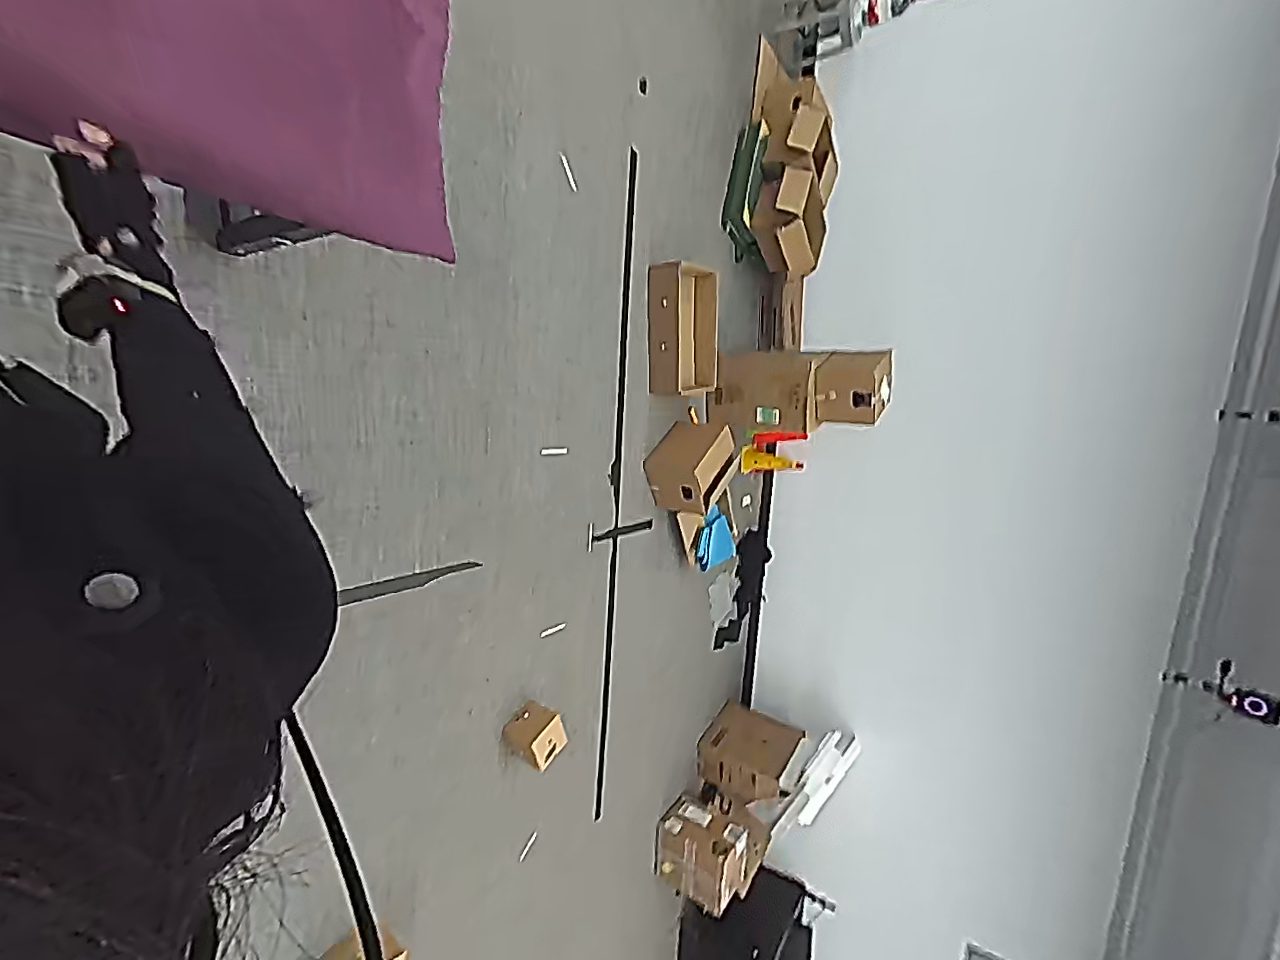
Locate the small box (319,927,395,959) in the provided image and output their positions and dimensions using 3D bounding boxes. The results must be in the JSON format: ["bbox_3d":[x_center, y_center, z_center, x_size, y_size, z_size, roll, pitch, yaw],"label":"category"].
[{"bbox_3d":[-0.916,1.583,1.707,0.179,0.176,0.168,15,87,-58],"label":"small box"}]

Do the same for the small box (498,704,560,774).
[{"bbox_3d":[-0.463,1.072,2.251,0.168,0.176,0.179,-39,128,-45],"label":"small box"}]
